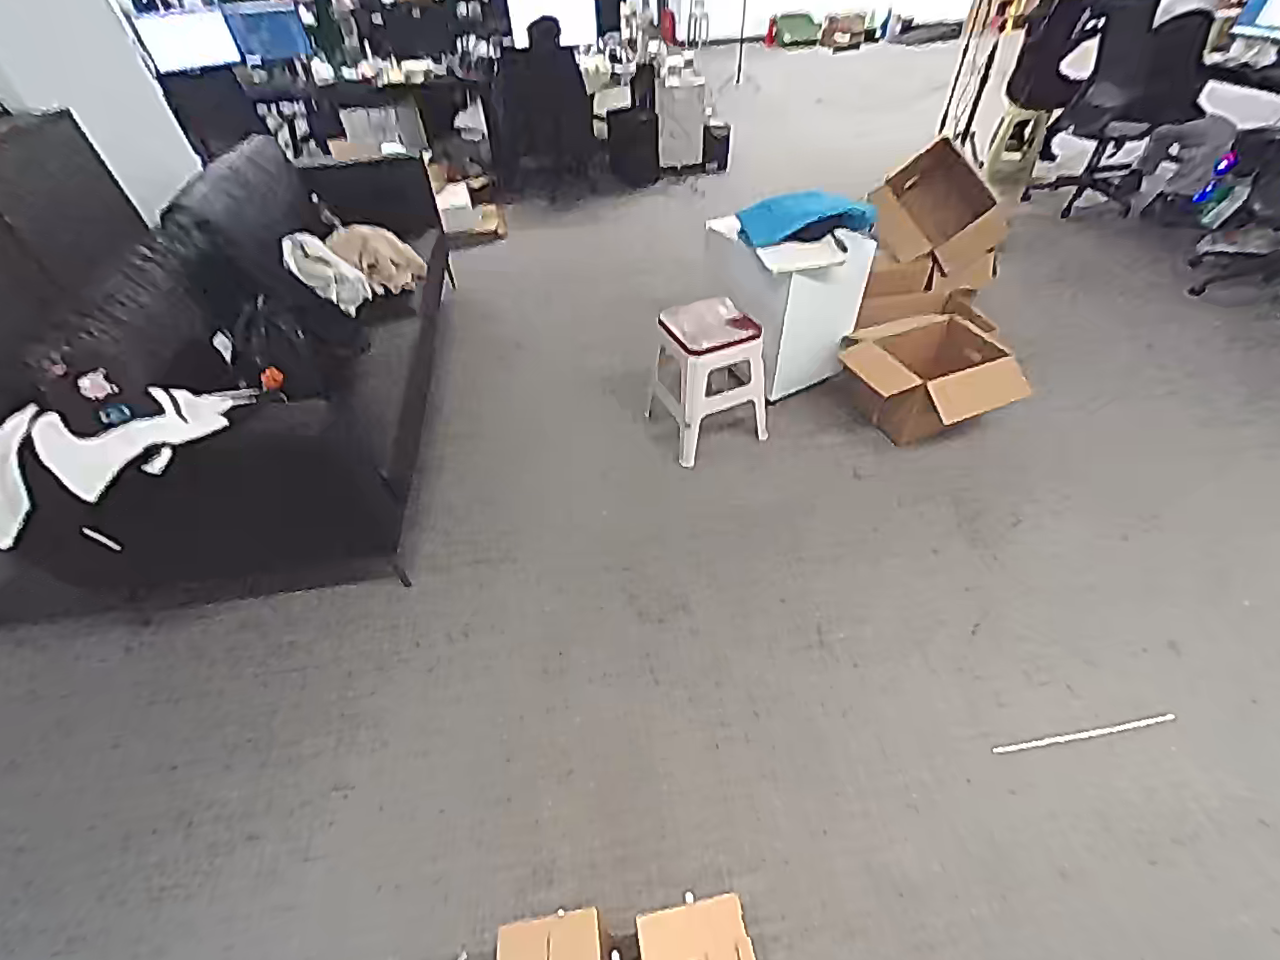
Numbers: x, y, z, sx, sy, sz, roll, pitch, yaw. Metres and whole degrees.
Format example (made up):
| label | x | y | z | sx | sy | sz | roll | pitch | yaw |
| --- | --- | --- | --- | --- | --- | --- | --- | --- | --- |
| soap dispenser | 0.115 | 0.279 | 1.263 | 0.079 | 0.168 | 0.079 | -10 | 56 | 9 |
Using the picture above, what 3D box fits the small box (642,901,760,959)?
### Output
| label | x | y | z | sx | sy | sz | roll | pitch | yaw |
| --- | --- | --- | --- | --- | --- | --- | --- | --- | --- |
| small box | 0.107 | 0.820 | 0.884 | 0.179 | 0.176 | 0.168 | -10 | 46 | -6 |
